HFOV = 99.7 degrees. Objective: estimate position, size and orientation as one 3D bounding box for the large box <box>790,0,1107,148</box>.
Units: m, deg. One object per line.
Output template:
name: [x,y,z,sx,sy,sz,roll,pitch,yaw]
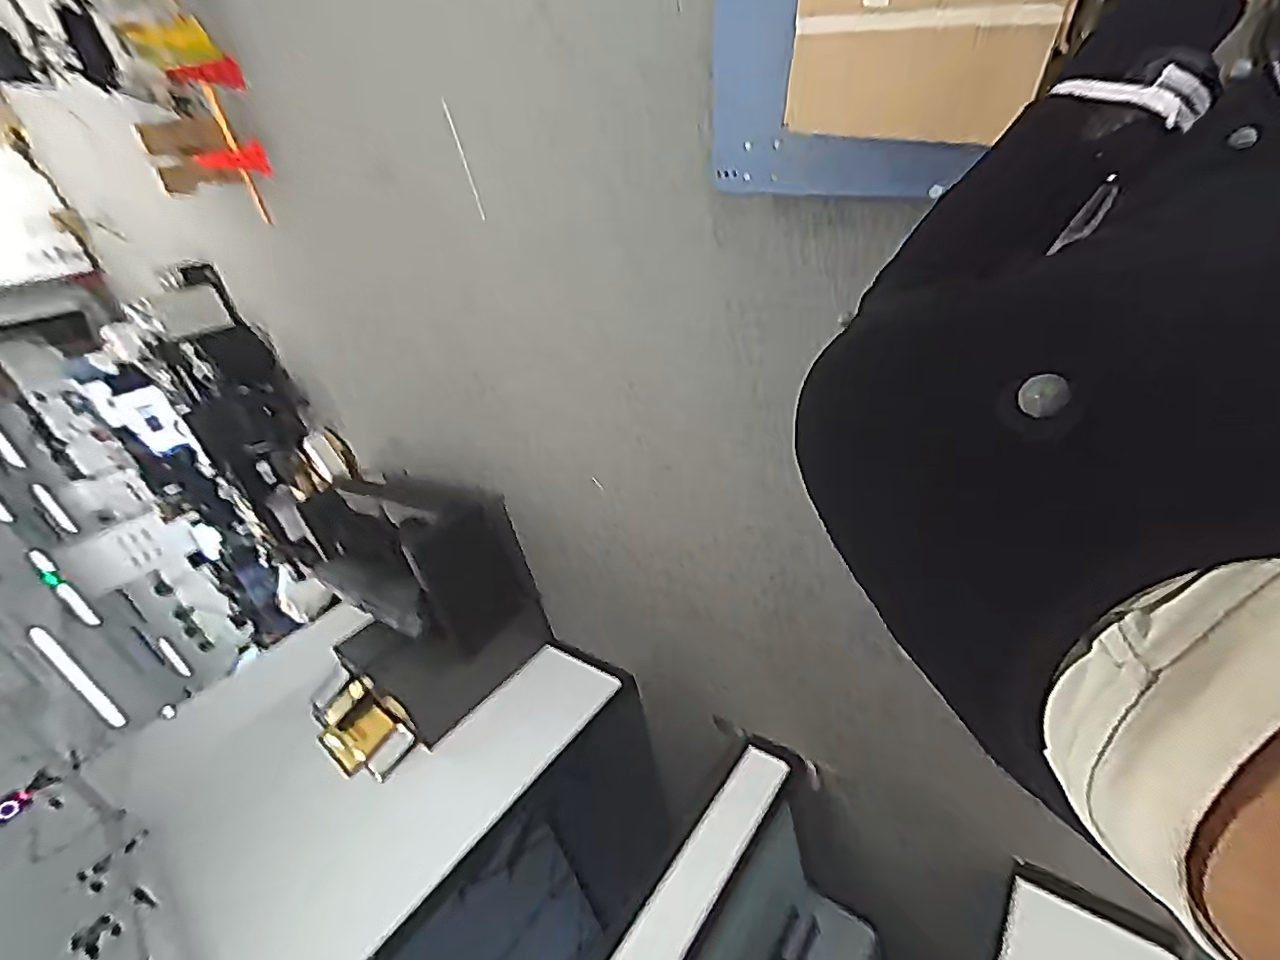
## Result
large box: [0.530,-0.774,0.923,0.408,0.320,0.320,27,134,31]
